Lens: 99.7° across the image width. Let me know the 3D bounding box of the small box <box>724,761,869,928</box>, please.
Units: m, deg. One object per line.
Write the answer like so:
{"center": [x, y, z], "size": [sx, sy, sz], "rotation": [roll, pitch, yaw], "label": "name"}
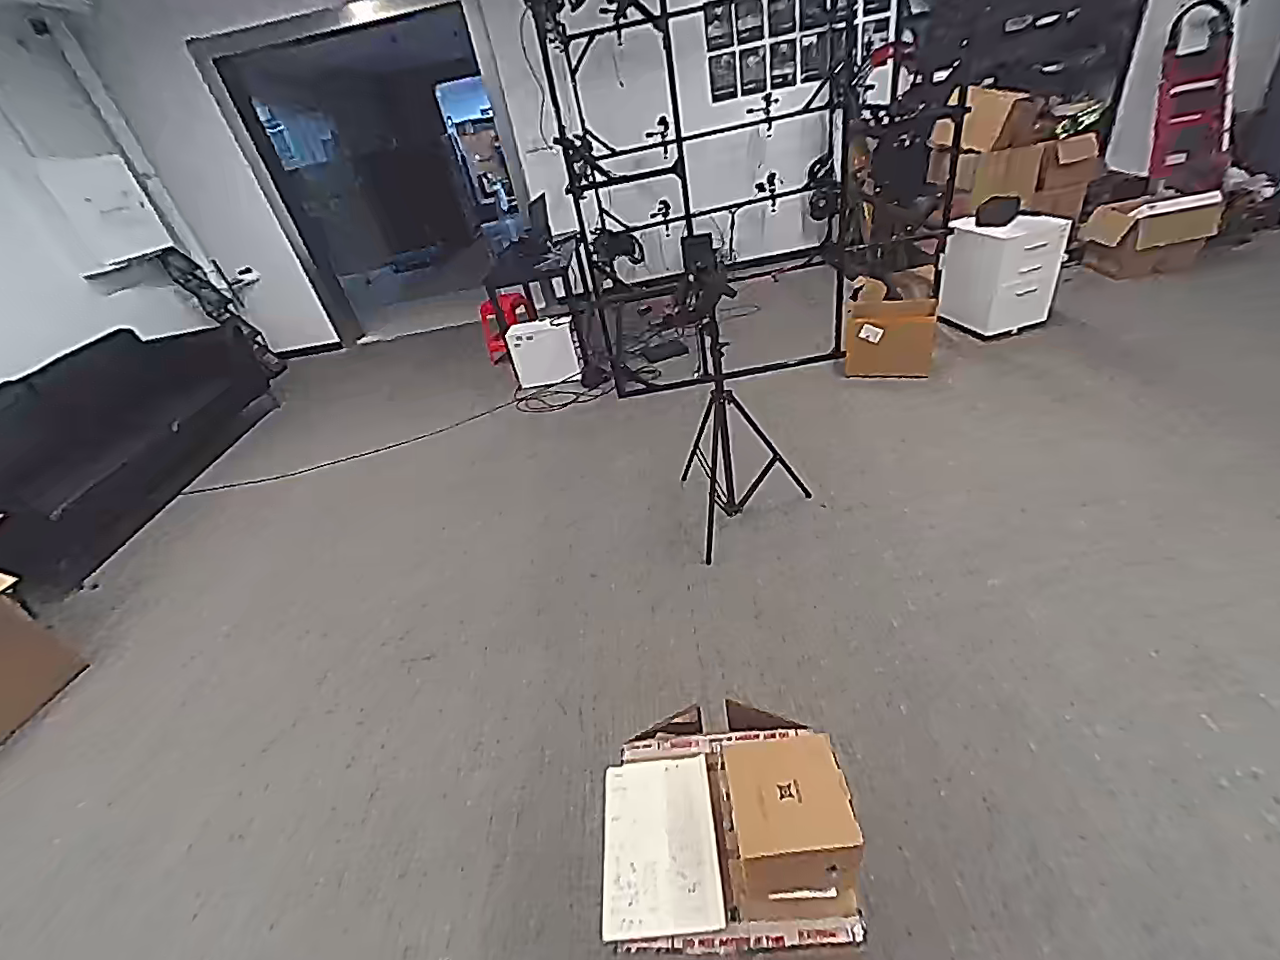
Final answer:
{"center": [0.236, 0.575, 0.854], "size": [0.179, 0.176, 0.168], "rotation": [-9, 35, 2], "label": "small box"}
